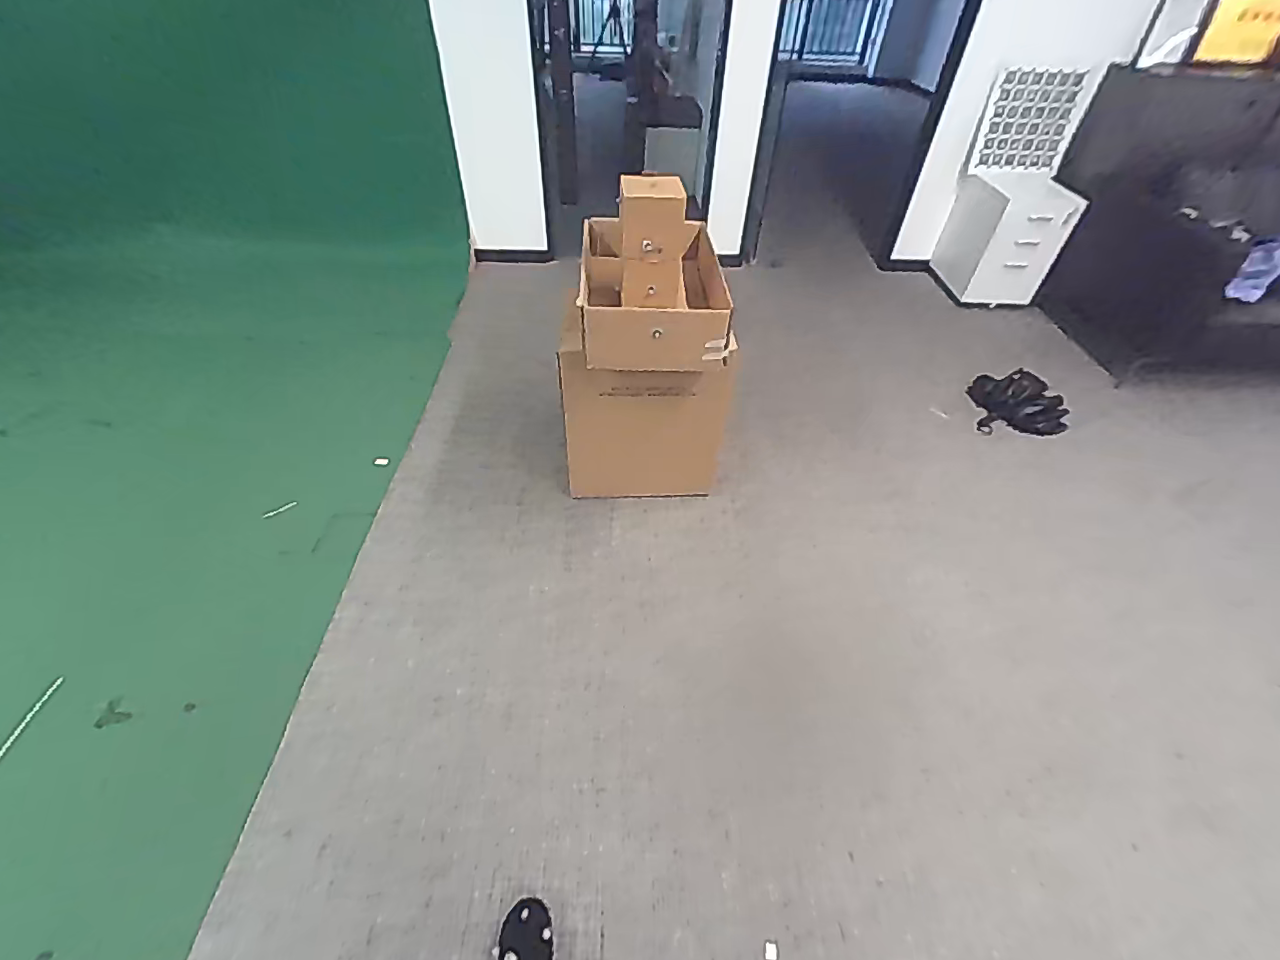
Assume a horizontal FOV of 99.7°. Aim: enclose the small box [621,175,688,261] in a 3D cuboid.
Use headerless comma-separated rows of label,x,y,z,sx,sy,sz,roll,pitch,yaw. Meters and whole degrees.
small box,0.033,-0.729,1.502,0.168,0.176,0.179,-2,46,-5
